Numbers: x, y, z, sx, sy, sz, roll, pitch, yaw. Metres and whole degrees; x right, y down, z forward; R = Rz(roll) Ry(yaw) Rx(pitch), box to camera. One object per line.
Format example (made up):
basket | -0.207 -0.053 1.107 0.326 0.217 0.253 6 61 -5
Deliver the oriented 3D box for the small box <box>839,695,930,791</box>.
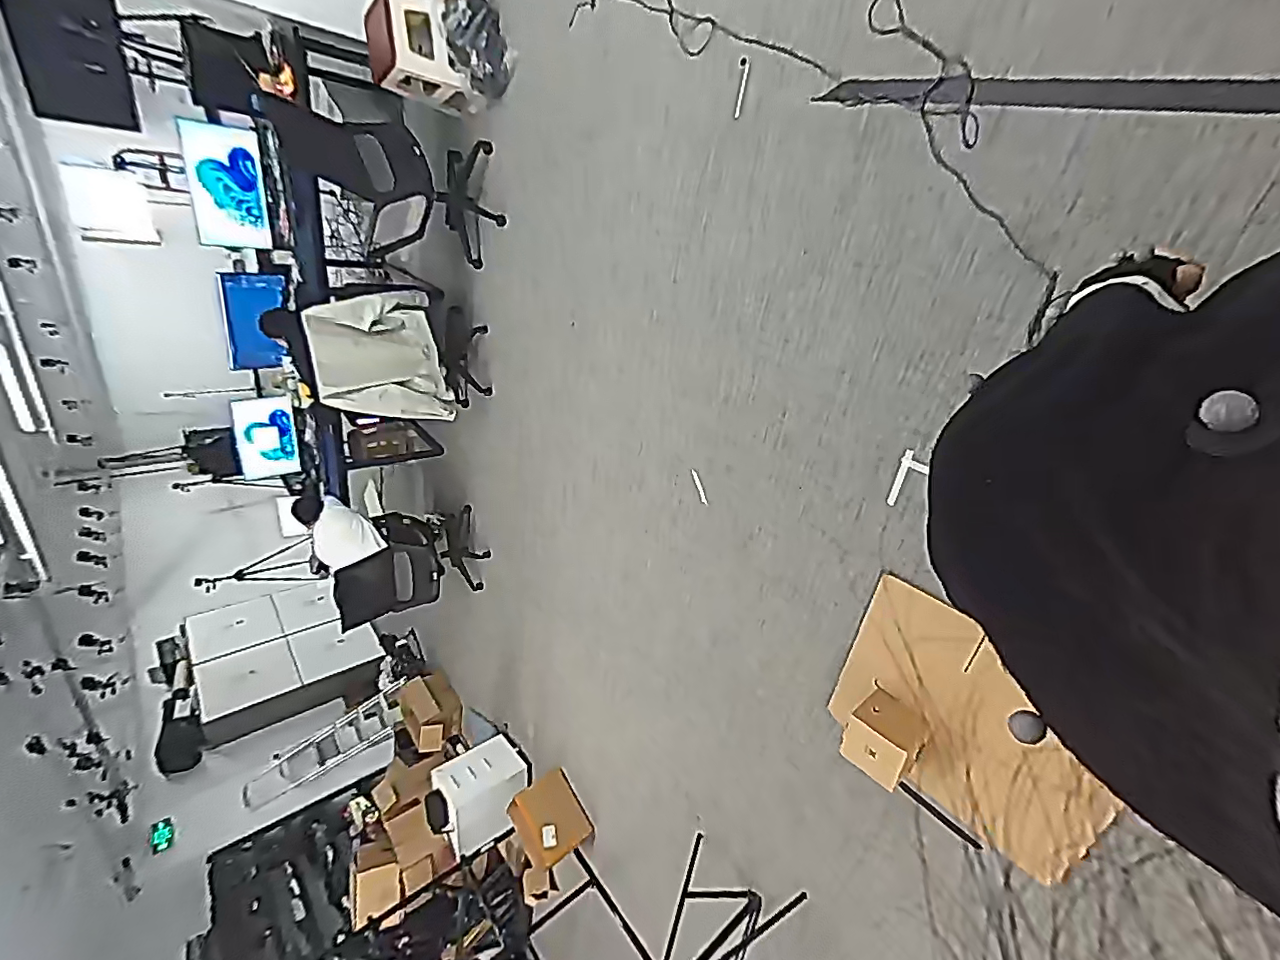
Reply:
small box | 0.739 0.781 1.635 0.179 0.176 0.168 27 122 41
